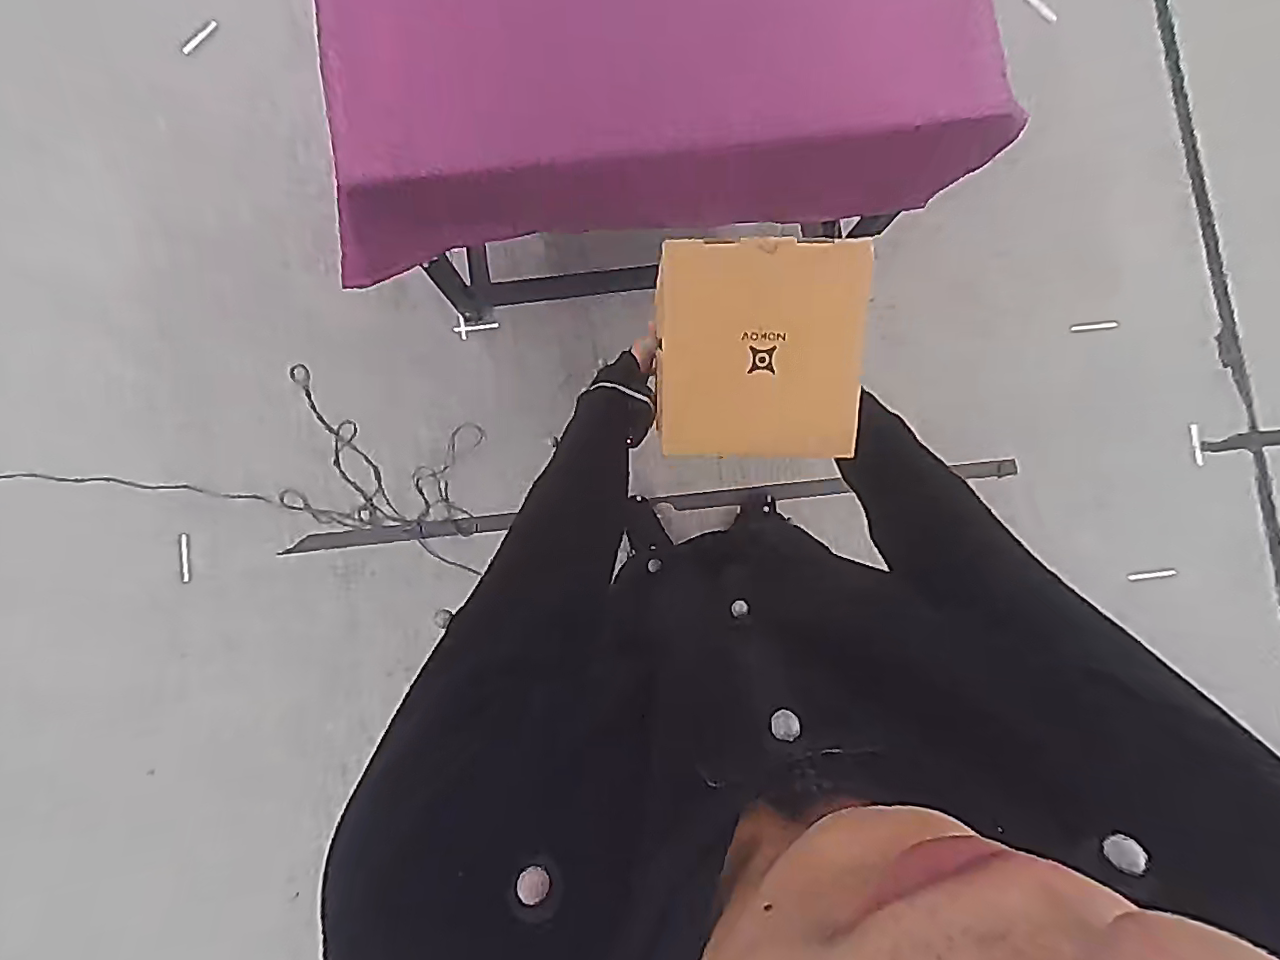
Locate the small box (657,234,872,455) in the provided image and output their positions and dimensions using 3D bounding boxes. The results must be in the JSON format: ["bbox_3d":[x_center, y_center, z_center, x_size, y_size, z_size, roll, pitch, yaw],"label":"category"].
[{"bbox_3d":[0.100,-0.125,0.516,0.168,0.176,0.179,0,103,1],"label":"small box"}]
